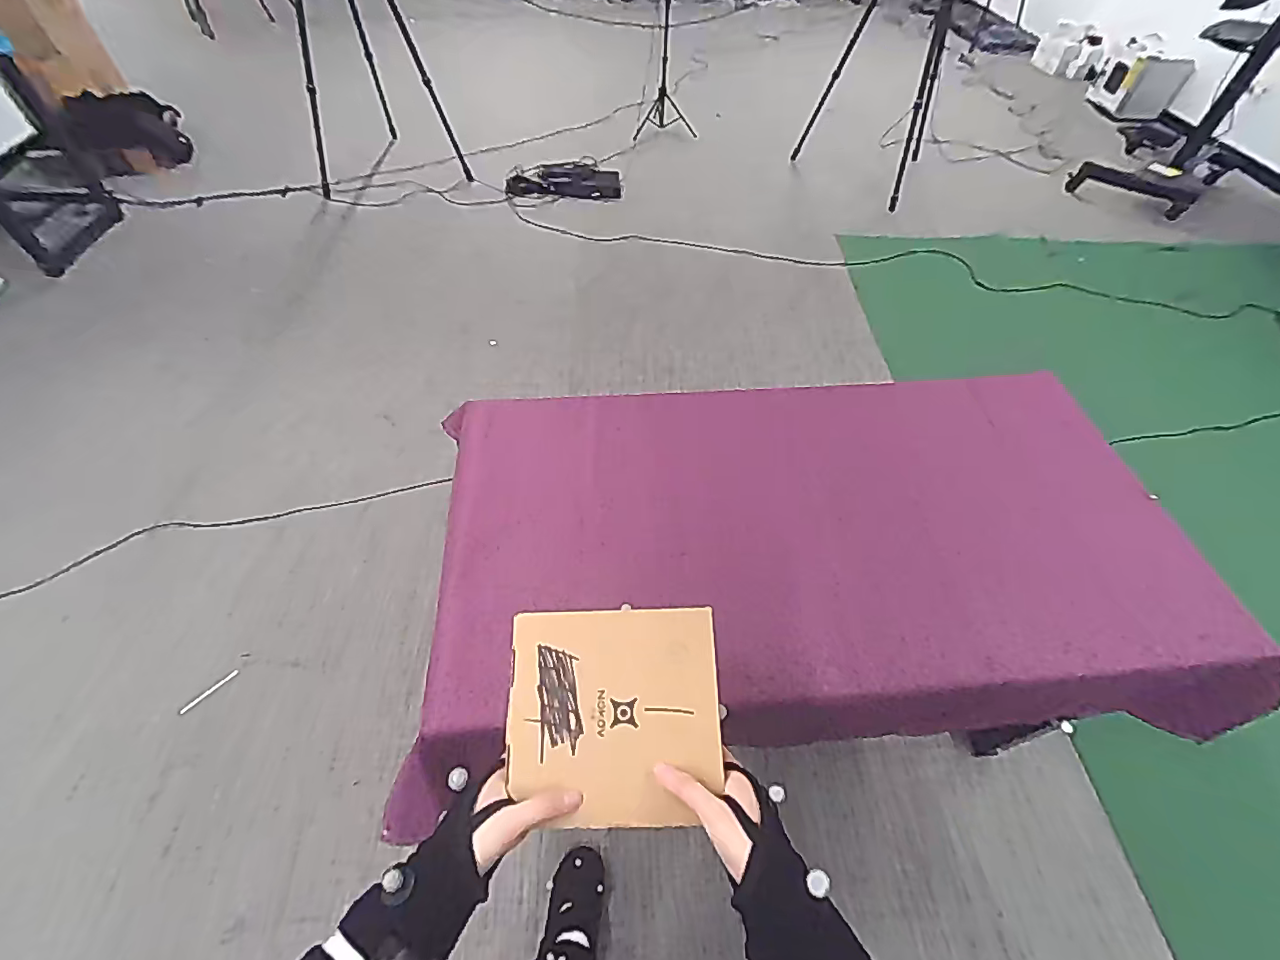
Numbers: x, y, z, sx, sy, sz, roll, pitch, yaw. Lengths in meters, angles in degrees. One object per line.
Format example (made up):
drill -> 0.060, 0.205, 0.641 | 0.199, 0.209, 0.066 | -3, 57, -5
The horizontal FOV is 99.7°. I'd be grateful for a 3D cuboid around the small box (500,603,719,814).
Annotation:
small box -> -0.022, 0.217, 0.527 | 0.179, 0.176, 0.168 | -2, 68, 1
